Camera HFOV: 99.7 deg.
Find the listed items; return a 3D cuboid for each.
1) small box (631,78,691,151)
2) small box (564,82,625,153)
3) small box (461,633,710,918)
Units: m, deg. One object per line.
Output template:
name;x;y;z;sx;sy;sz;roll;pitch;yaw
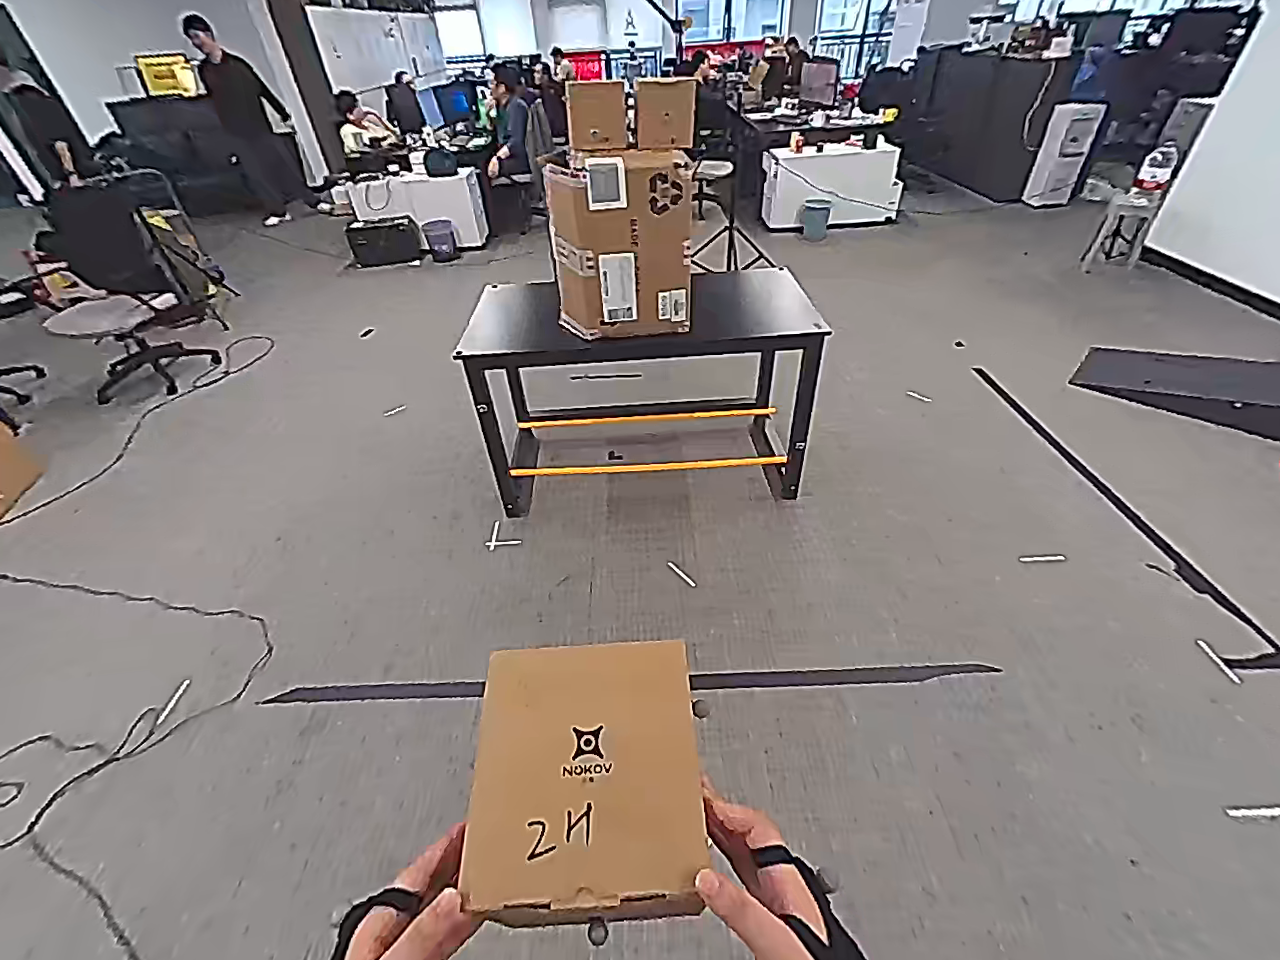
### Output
small box;0.061;-1.104;1.634;0.168;0.176;0.179;-3;40;-4
small box;-0.139;-1.097;1.637;0.168;0.176;0.179;-8;38;-6
small box;-0.036;0.254;0.465;0.168;0.176;0.179;-4;47;0
